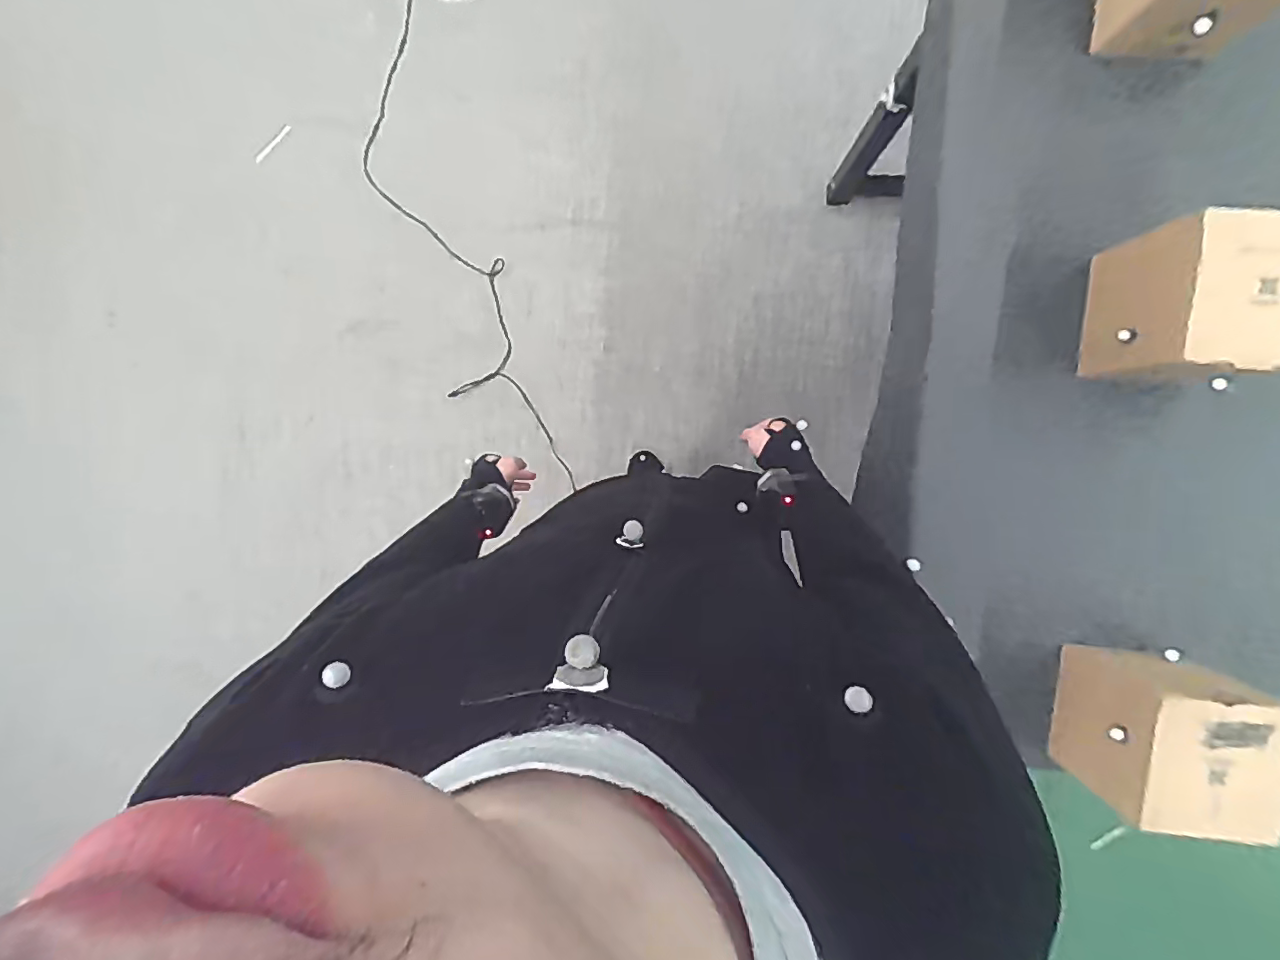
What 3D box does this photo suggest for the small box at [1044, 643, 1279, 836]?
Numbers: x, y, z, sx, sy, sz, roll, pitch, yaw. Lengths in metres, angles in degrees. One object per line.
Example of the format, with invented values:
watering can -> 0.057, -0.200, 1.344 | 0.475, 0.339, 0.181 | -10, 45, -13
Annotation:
small box -> 0.698, 0.340, 0.740 | 0.168, 0.176, 0.179 | 6, 95, 1

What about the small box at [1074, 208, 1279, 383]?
small box -> 0.712, -0.224, 0.701 | 0.168, 0.176, 0.179 | 4, 93, 0

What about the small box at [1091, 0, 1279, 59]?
small box -> 0.708, -0.663, 0.664 | 0.168, 0.176, 0.179 | 4, 96, 1
